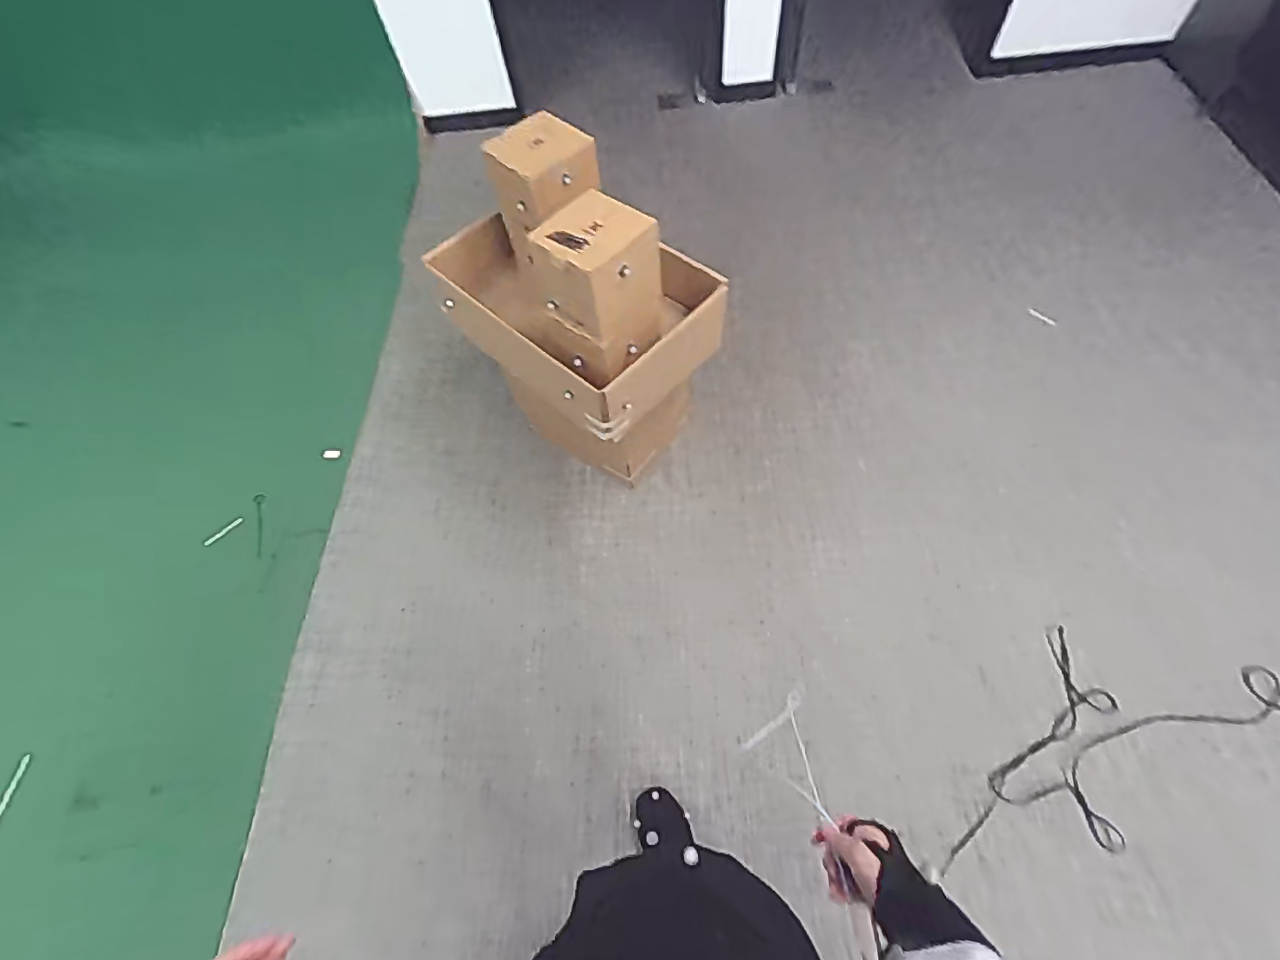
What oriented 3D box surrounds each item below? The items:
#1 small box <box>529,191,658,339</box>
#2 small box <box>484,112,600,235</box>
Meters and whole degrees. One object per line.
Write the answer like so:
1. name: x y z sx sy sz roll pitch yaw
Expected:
1. small box: -0.077 -0.402 1.029 0.168 0.176 0.179 37 69 21
2. small box: -0.201 -0.647 1.175 0.179 0.176 0.168 -41 67 -17
